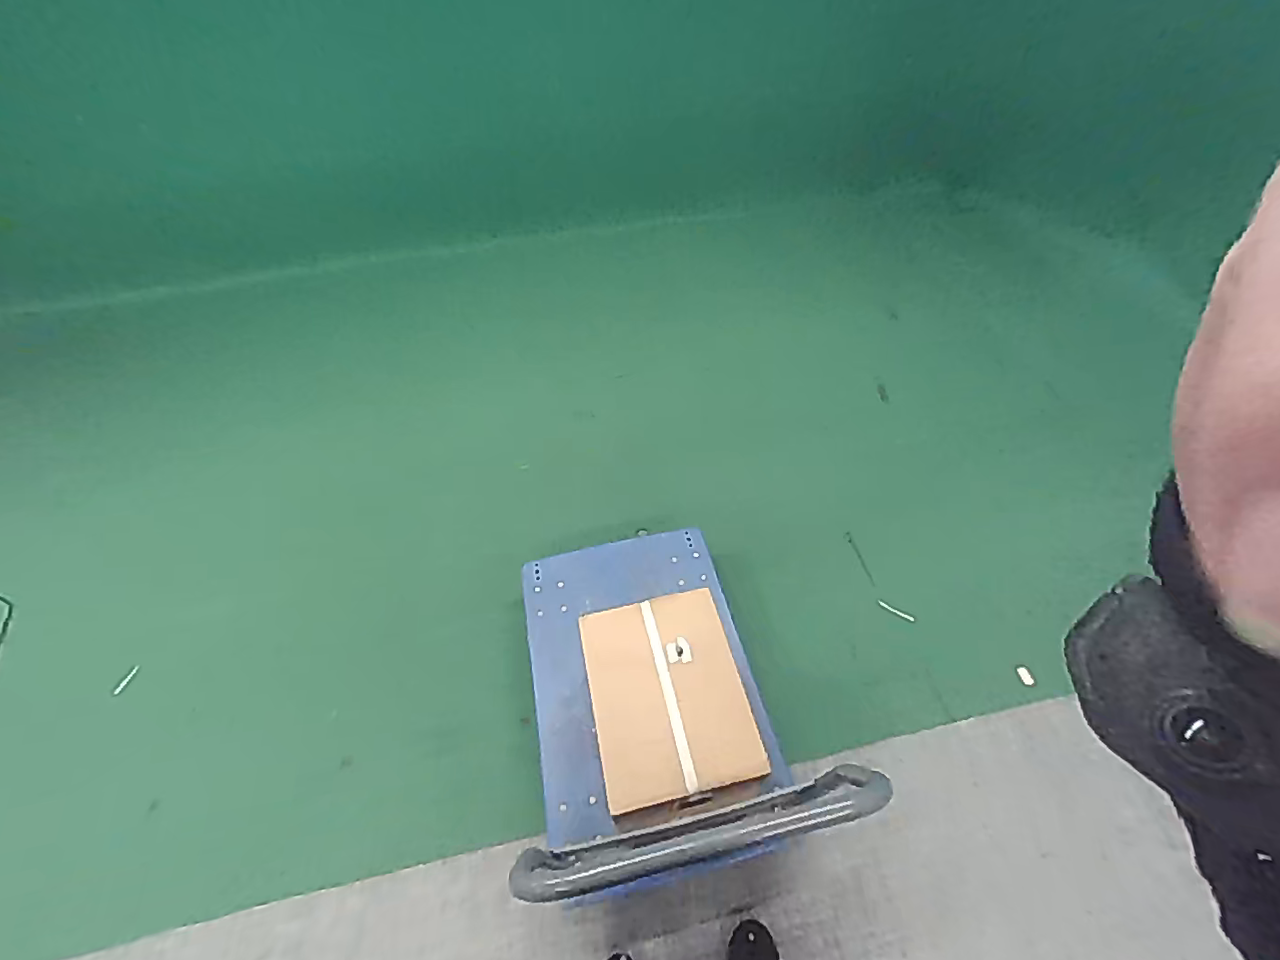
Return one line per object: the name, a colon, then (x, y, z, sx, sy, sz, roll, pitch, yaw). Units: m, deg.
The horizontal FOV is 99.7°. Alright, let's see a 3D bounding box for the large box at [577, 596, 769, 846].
large box: (0.059, 0.543, 1.234, 0.320, 0.320, 0.408, -11, 49, -8)
